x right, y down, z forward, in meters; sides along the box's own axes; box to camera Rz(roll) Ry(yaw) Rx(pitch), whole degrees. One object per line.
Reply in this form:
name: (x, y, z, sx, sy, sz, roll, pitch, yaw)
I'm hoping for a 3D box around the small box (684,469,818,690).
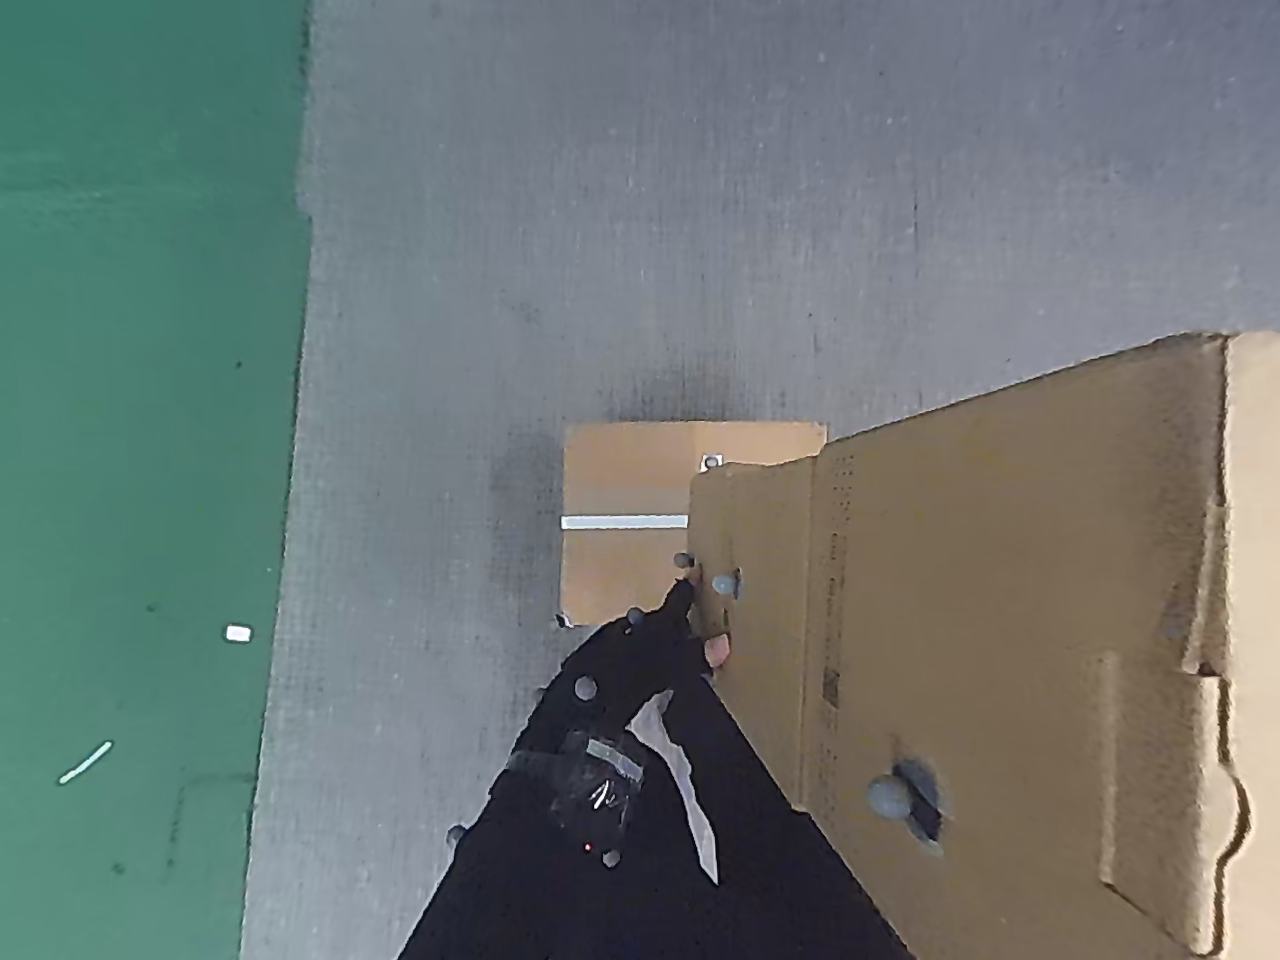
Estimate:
small box: (0.136, 0.088, 0.509, 0.168, 0.176, 0.179, 4, 86, -3)
